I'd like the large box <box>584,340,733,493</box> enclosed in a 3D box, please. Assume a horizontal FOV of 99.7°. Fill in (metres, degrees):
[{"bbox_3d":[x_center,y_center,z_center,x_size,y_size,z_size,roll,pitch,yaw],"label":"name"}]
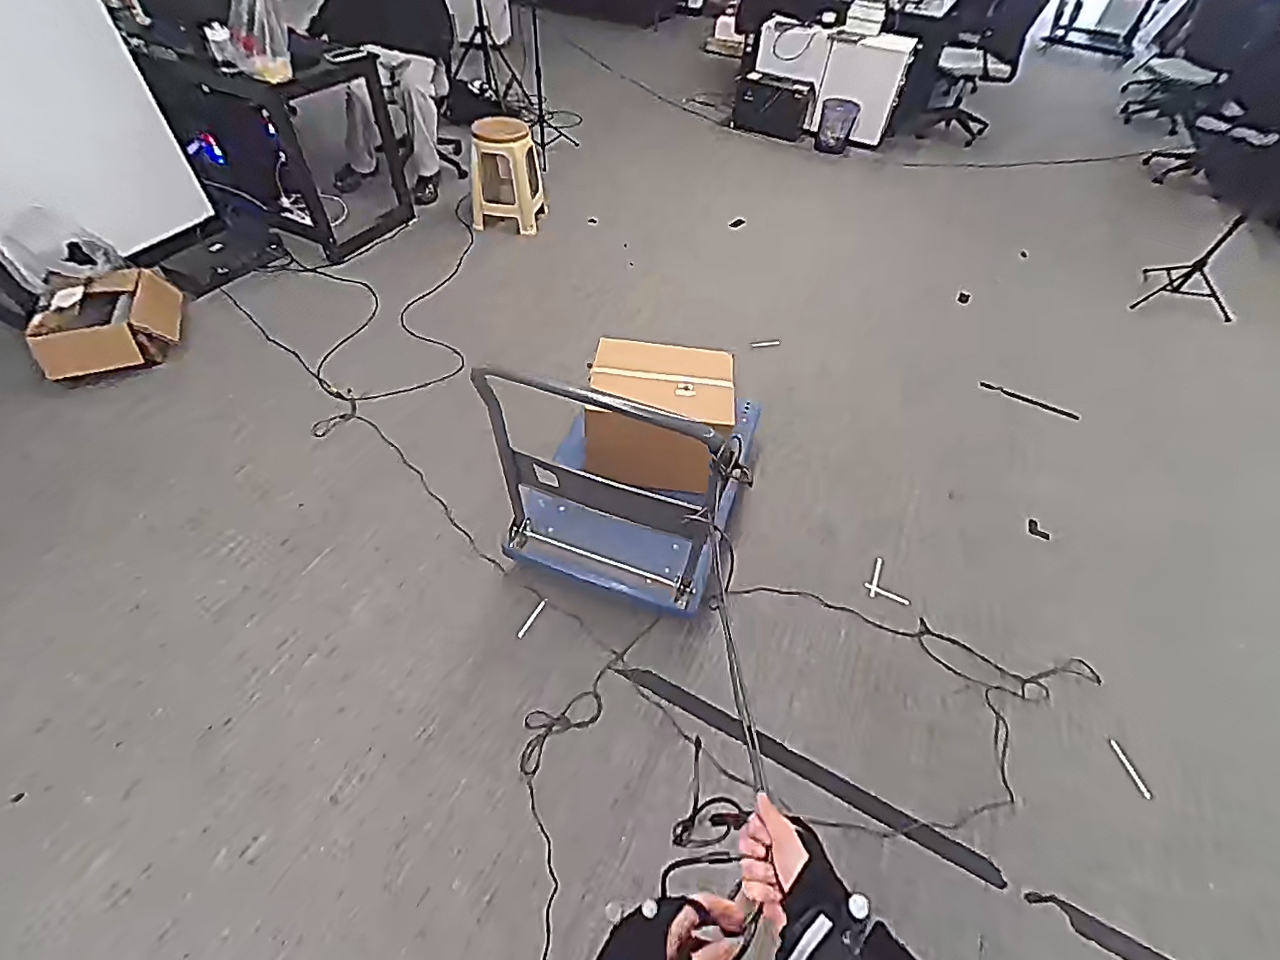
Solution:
[{"bbox_3d":[0.049,-0.186,1.632,0.408,0.320,0.320,7,52,0],"label":"large box"}]
